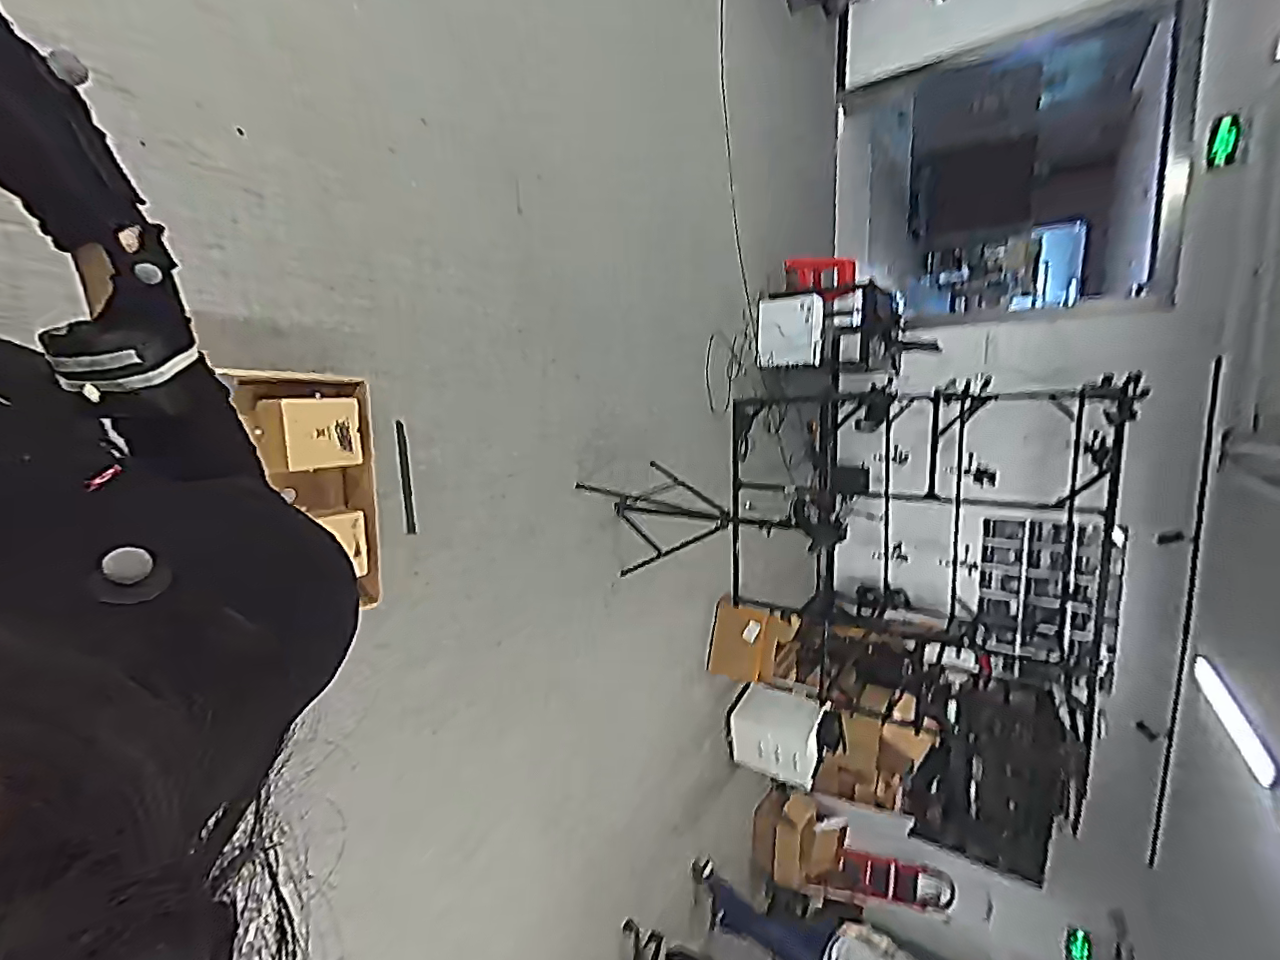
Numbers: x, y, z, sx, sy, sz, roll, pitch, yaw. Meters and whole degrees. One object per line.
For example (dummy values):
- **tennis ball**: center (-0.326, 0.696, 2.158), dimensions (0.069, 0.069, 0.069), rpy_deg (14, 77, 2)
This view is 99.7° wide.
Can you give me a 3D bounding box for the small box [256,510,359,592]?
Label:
- **small box**: center (-0.838, 0.171, 1.356), dimensions (0.179, 0.176, 0.168), rpy_deg (-8, 100, -54)
